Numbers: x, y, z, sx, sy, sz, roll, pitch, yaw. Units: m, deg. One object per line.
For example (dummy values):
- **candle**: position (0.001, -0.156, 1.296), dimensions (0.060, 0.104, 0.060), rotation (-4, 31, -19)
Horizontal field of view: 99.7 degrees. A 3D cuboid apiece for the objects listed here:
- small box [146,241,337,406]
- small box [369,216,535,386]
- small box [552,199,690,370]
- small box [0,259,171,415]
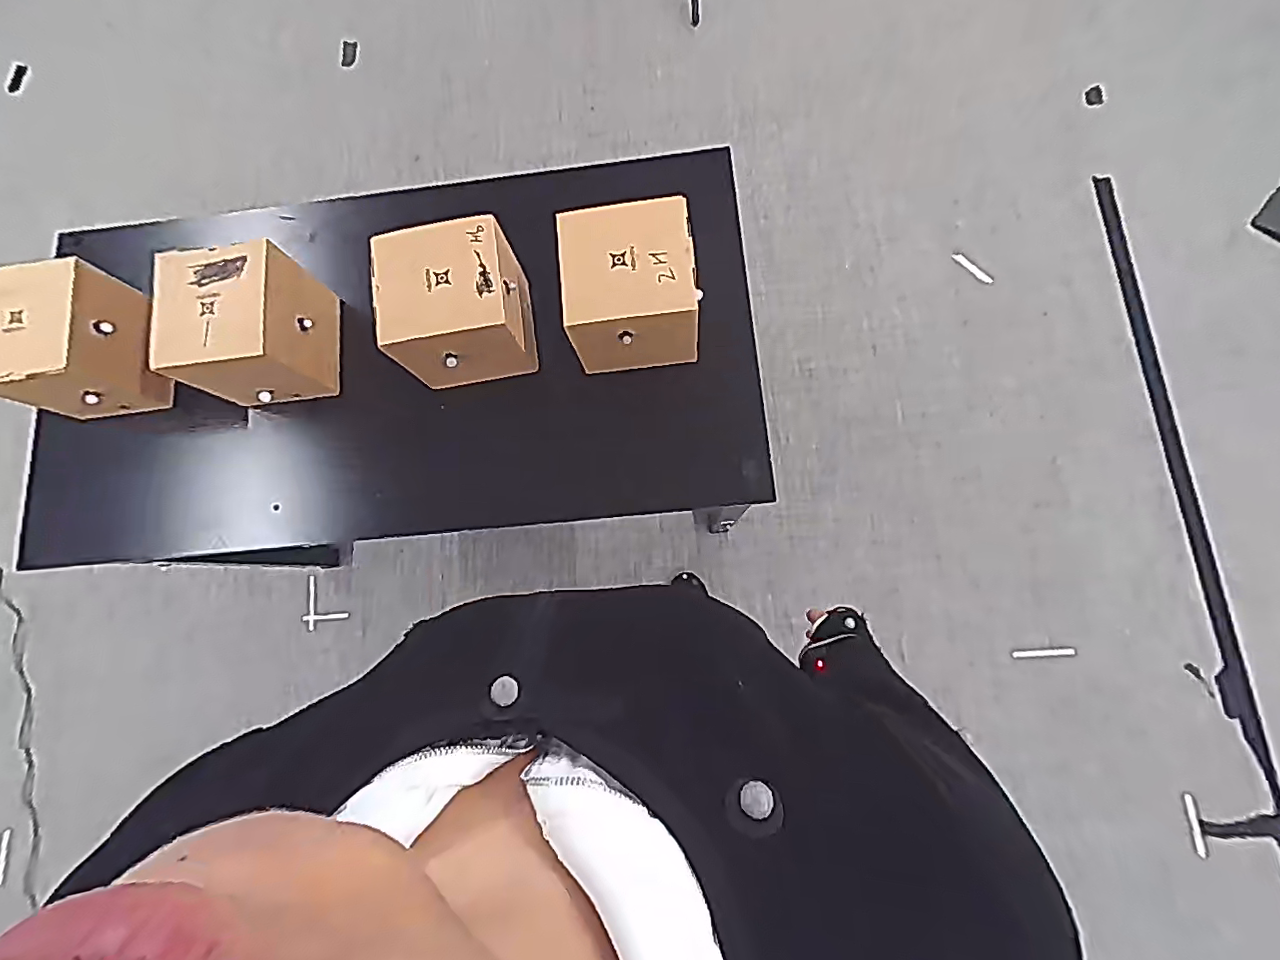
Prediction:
- **small box**: position (-0.587, -0.228, 0.820), dimensions (0.168, 0.176, 0.179), rotation (-6, 80, 3)
- **small box**: position (-0.270, -0.252, 0.802), dimensions (0.179, 0.176, 0.168), rotation (-10, 79, 3)
- **small box**: position (-0.020, -0.270, 0.786), dimensions (0.179, 0.176, 0.168), rotation (-6, 79, 3)
- **small box**: position (-0.873, -0.208, 0.837), dimensions (0.168, 0.176, 0.179), rotation (-7, 78, 1)
